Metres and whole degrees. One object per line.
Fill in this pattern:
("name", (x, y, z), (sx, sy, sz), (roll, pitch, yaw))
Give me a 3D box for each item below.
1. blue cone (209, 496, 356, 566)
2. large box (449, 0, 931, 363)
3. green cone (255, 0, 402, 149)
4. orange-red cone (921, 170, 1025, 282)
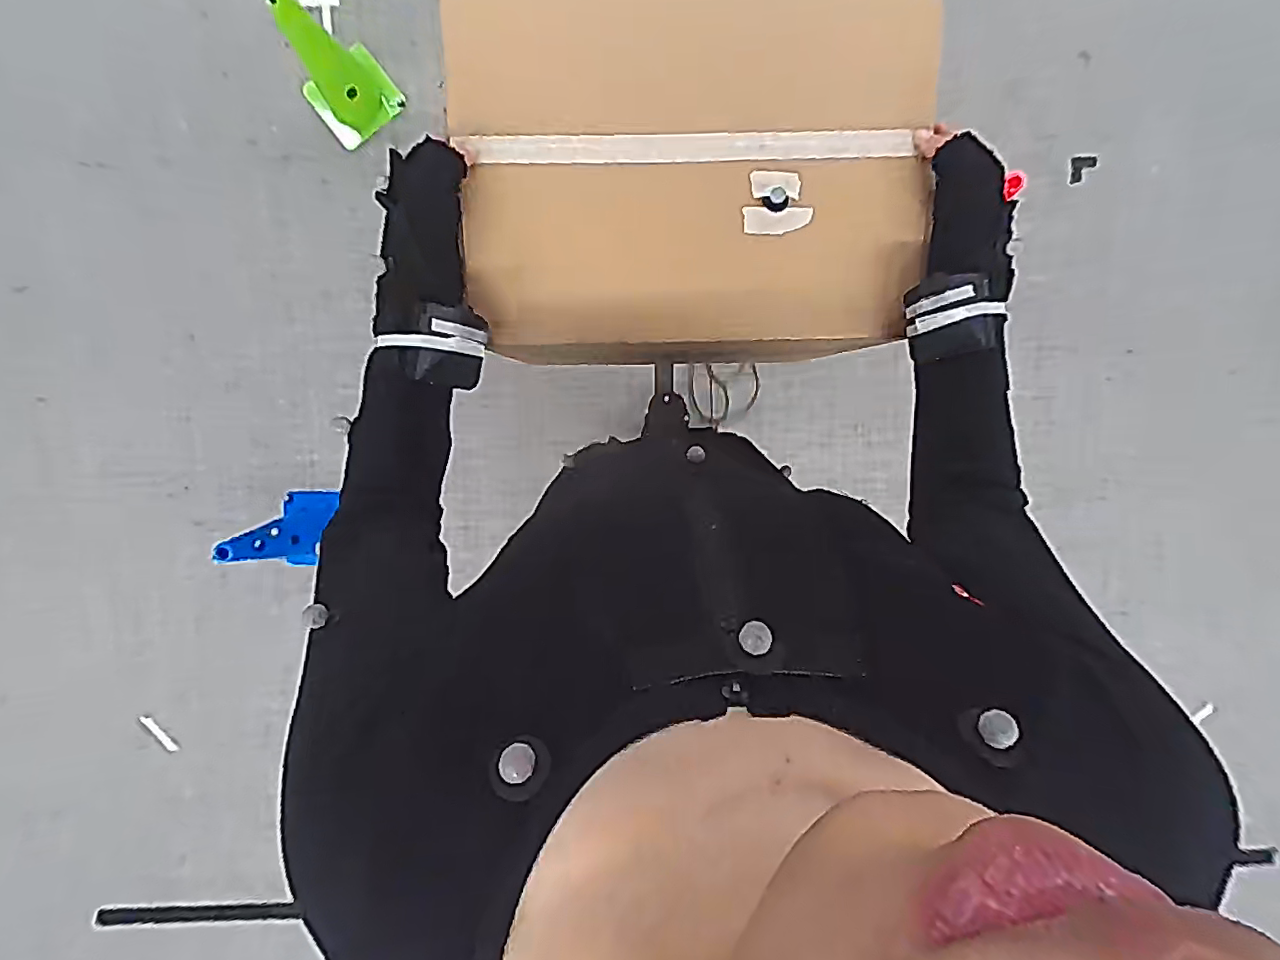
("blue cone", (-0.861, 0.147, 1.298), (0.192, 0.380, 0.193), (2, 93, 0))
("large box", (0.041, -0.306, 0.605), (0.408, 0.320, 0.320), (-2, 99, -2))
("green cone", (-0.740, -0.976, 1.220), (0.202, 0.368, 0.200), (-39, 92, 3))
("orange-red cone", (0.755, -0.620, 1.269), (0.198, 0.360, 0.199), (-4, 92, -2))
